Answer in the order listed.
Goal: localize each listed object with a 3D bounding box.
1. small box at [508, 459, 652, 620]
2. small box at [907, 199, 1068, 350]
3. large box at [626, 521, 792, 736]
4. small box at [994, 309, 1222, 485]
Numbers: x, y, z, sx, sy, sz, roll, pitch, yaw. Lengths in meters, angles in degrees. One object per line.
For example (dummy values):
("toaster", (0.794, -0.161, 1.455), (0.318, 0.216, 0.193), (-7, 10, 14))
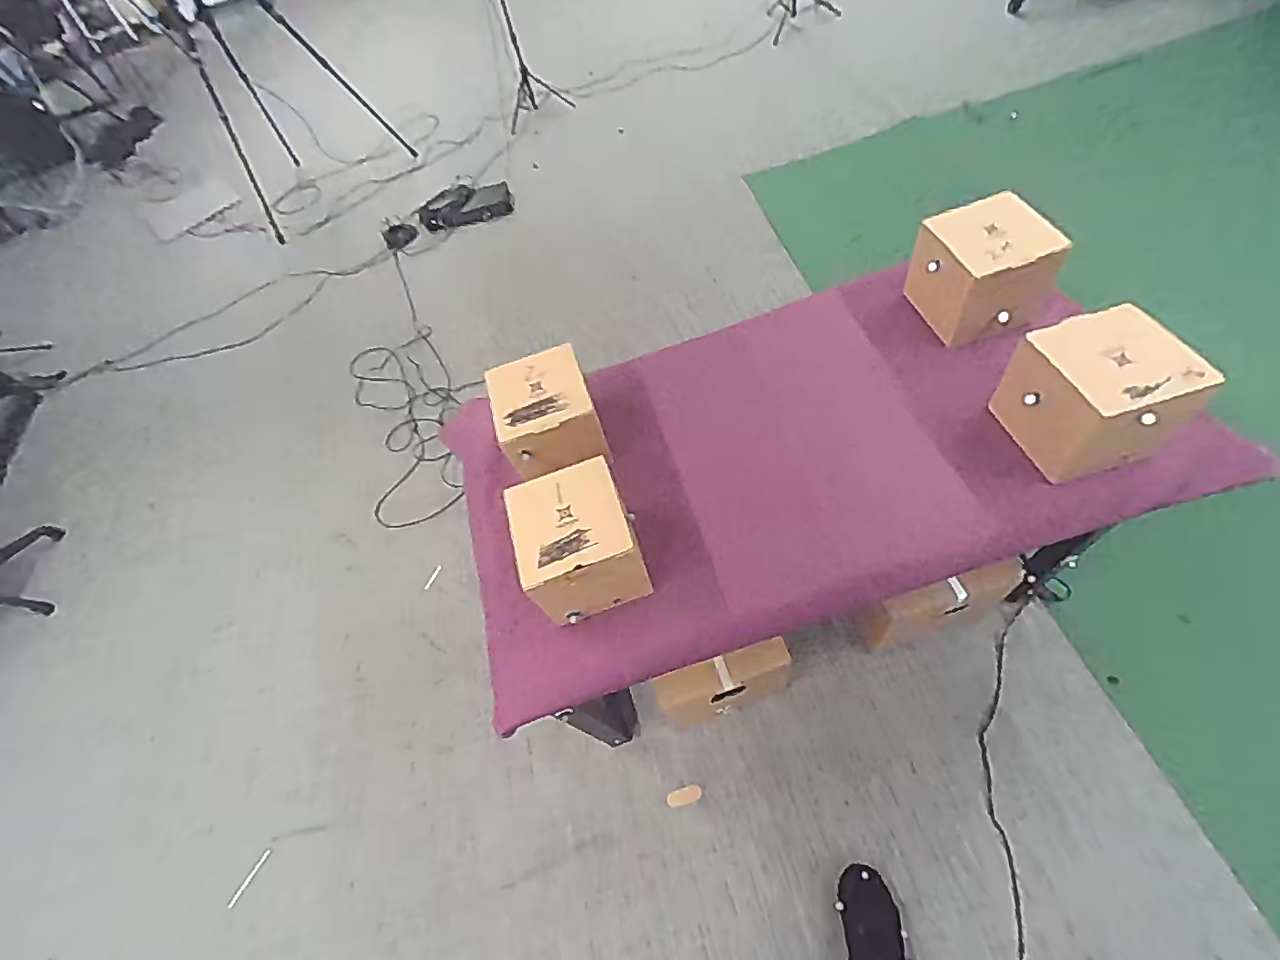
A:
("small box", (-0.090, 0.103, 0.854), (0.168, 0.176, 0.179), (-20, 54, -1))
("small box", (0.624, -0.376, 1.003), (0.168, 0.176, 0.179), (-18, 57, 3))
("large box", (0.164, 0.391, 1.414), (0.320, 0.320, 0.408), (-20, 55, -2))
("small box", (0.686, -0.122, 0.826), (0.168, 0.176, 0.179), (-18, 53, 3))
